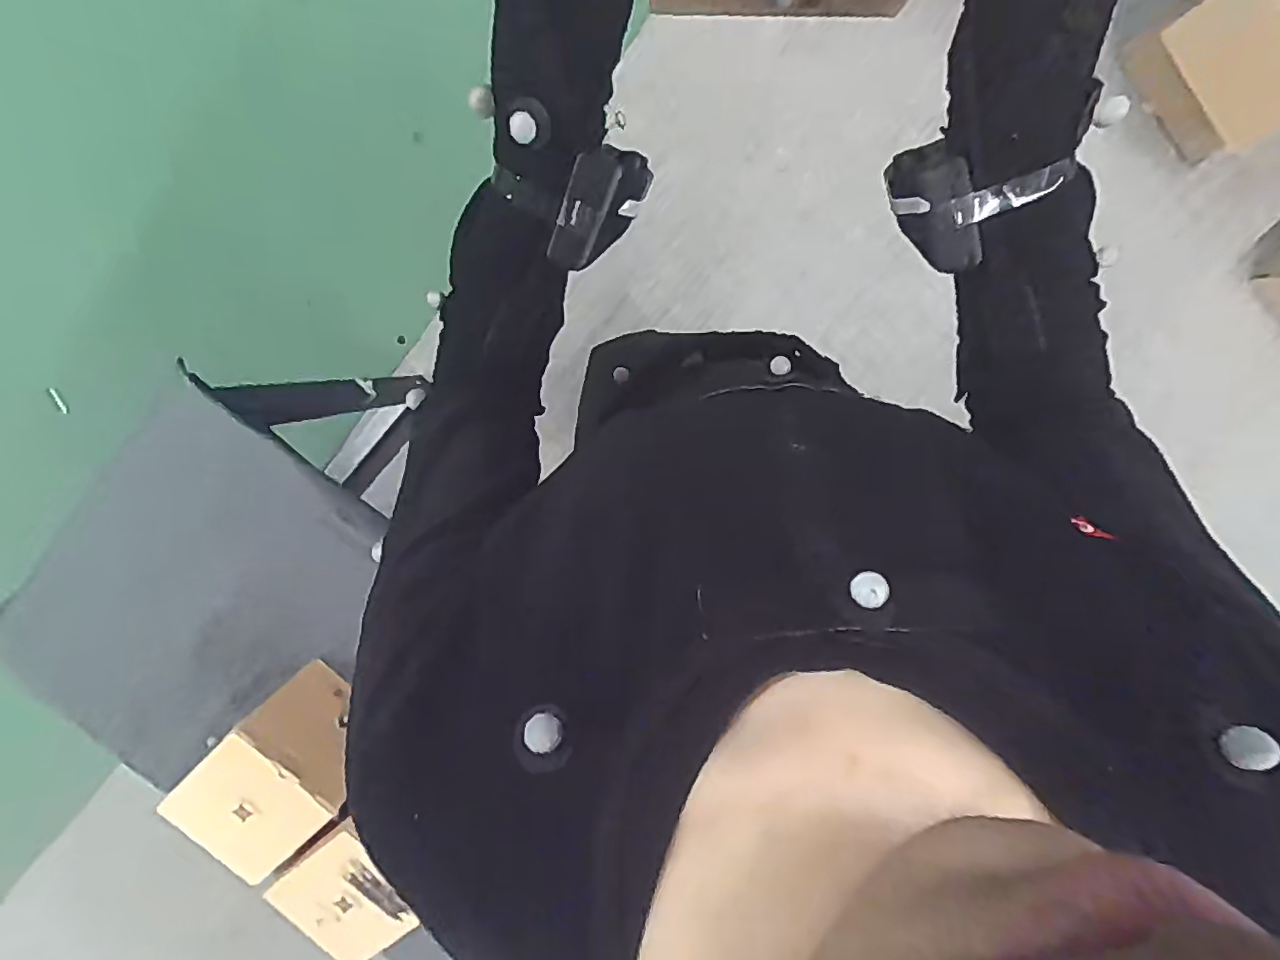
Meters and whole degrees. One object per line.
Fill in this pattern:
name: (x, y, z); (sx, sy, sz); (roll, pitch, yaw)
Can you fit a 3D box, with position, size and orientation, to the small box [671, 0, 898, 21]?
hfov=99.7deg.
small box: (0.088, -0.371, 0.261); (0.168, 0.176, 0.179); (5, 109, 4)
